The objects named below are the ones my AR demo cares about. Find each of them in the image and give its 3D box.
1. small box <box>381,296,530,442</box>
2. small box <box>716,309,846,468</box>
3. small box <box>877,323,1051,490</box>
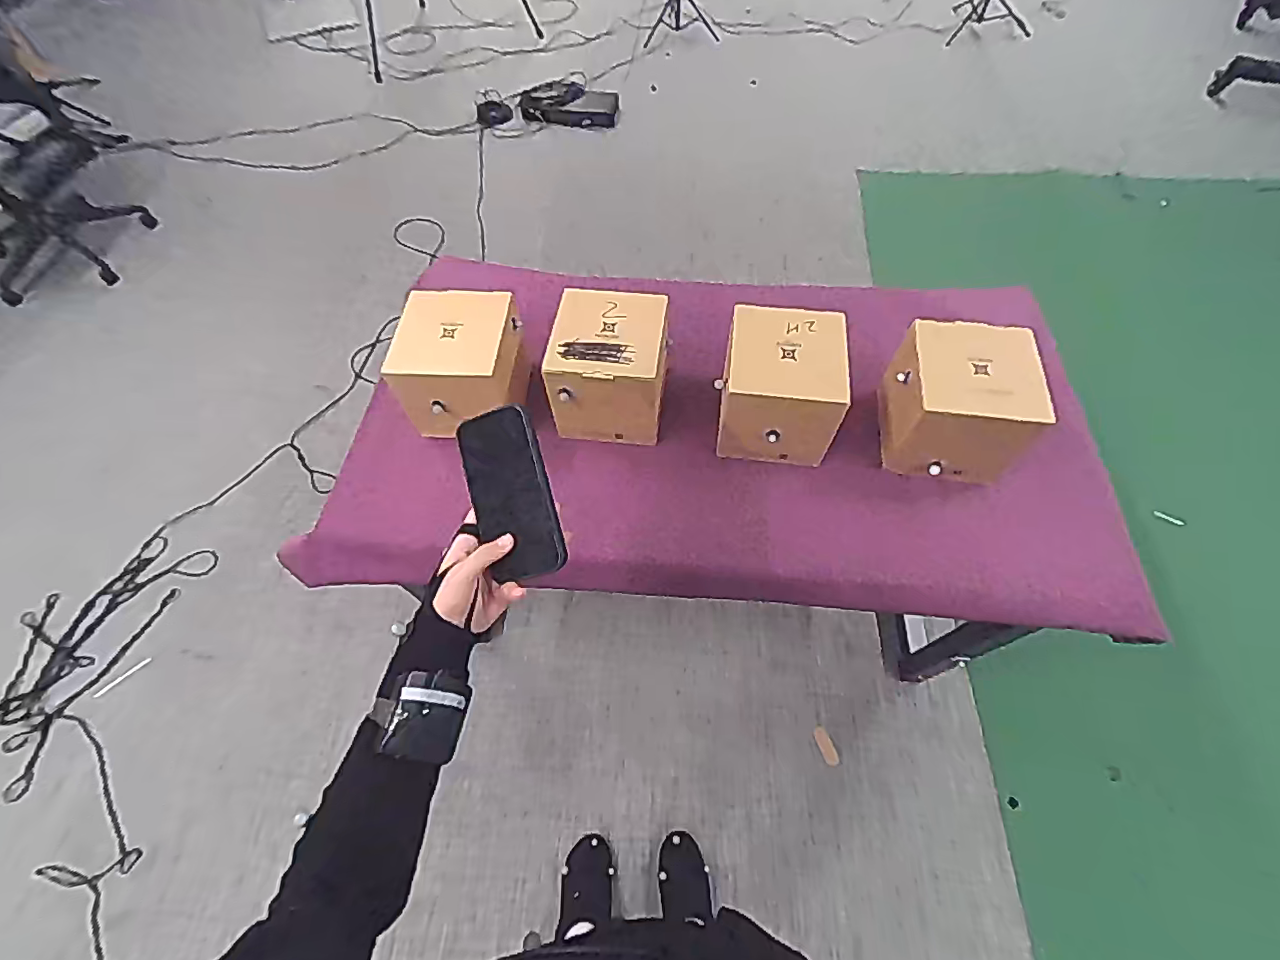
[{"bbox_3d":[-0.285,-0.176,0.881,0.168,0.176,0.179,1,58,3],"label":"small box"},{"bbox_3d":[0.213,-0.137,0.843,0.168,0.176,0.179,7,59,5],"label":"small box"},{"bbox_3d":[0.471,-0.109,0.820,0.168,0.176,0.179,8,60,7],"label":"small box"}]
